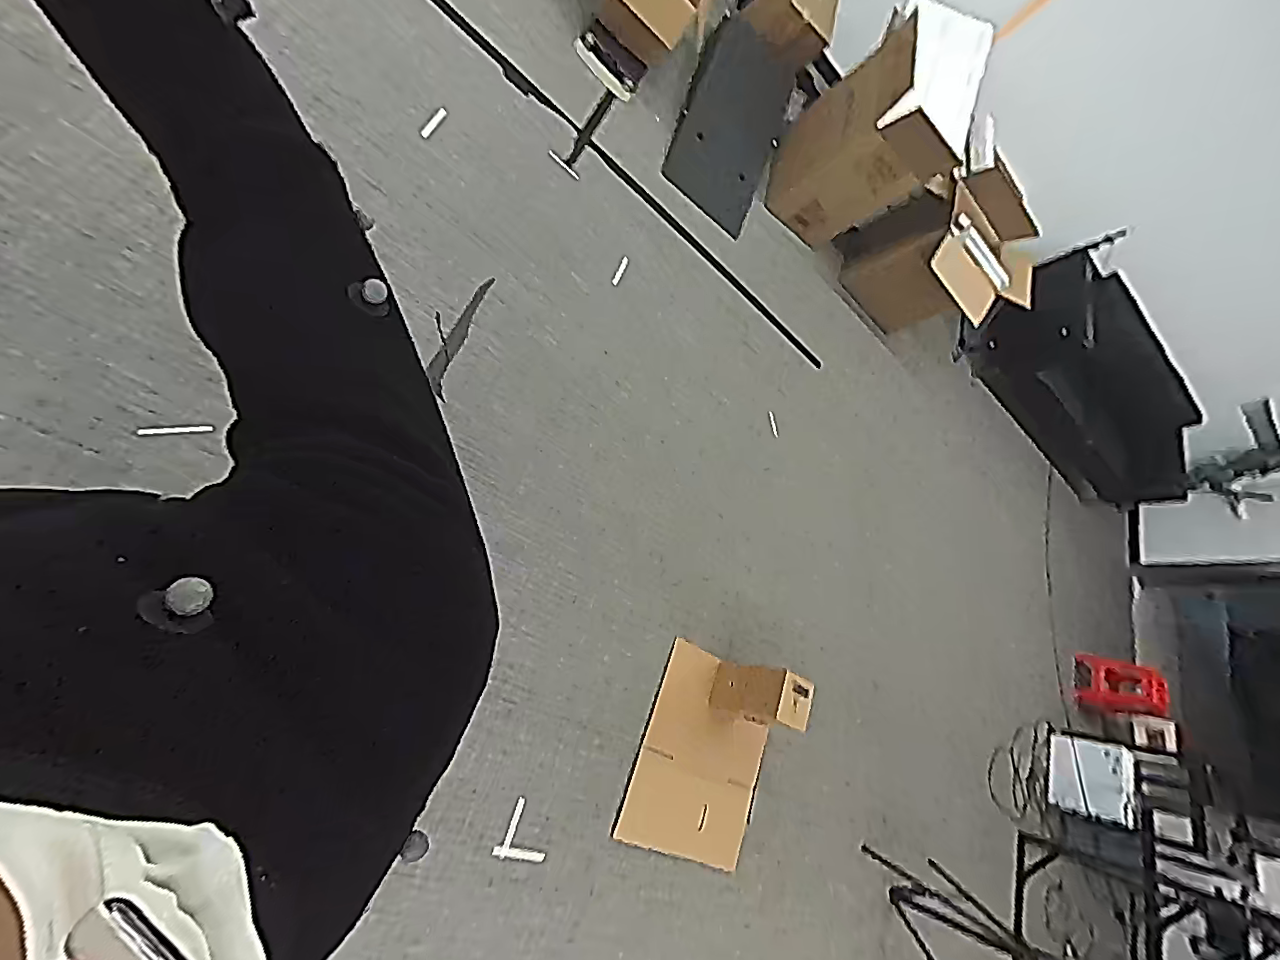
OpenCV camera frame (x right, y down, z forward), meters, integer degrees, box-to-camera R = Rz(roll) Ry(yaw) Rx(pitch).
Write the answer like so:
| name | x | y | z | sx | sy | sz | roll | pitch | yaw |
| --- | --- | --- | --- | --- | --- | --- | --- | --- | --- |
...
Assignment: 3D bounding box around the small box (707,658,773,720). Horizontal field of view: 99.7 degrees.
| name | x | y | z | sx | sy | sz | roll | pitch | yaw |
| --- | --- | --- | --- | --- | --- | --- | --- | --- | --- |
| small box | 0.386 | 0.811 | 2.110 | 0.168 | 0.176 | 0.179 | 34 | 62 | -27 |
